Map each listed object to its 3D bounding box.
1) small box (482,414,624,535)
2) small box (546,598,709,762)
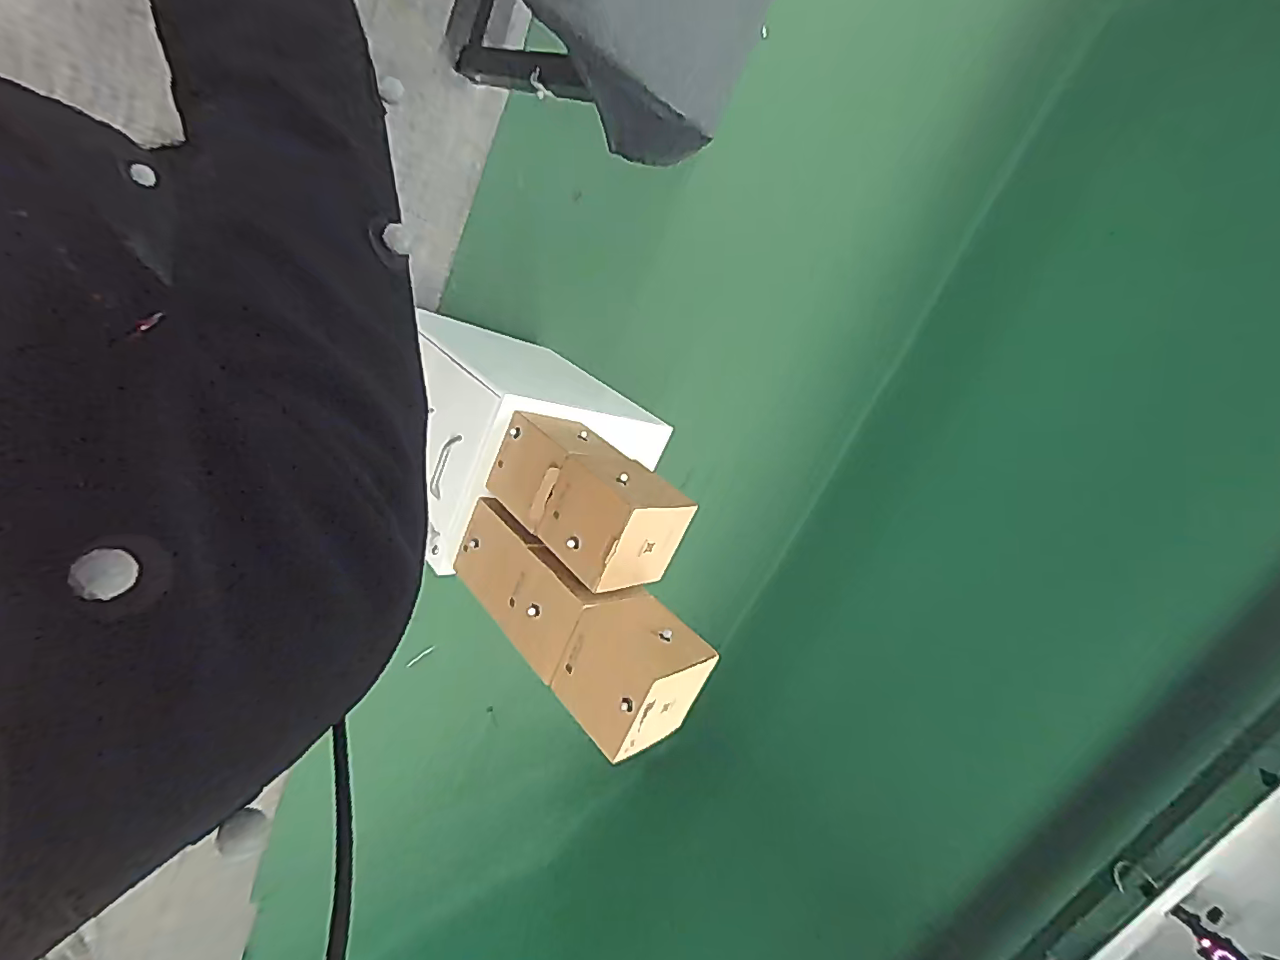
[{"bbox_3d":[-0.169,-0.011,1.025,0.179,0.176,0.168,4,118,-53],"label":"small box"},{"bbox_3d":[-0.022,0.316,0.900,0.179,0.176,0.168,2,117,-52],"label":"small box"}]
